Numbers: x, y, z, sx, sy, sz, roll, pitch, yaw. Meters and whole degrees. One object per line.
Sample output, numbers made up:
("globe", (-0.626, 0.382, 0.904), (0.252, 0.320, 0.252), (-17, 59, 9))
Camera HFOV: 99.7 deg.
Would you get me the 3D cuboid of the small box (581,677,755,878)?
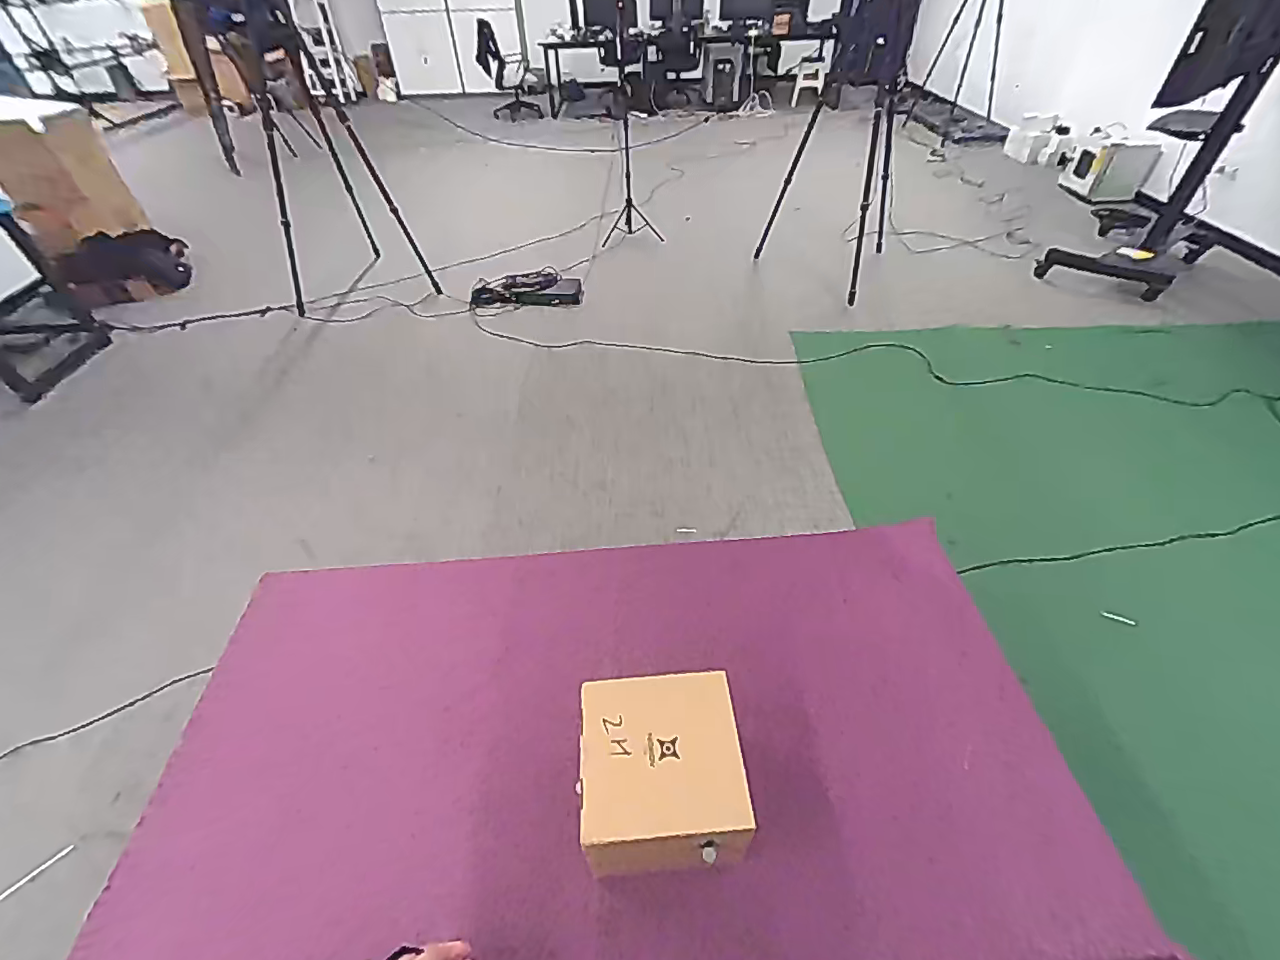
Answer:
("small box", (0.025, 0.355, 0.644), (0.179, 0.176, 0.168), (-4, 44, -2))
